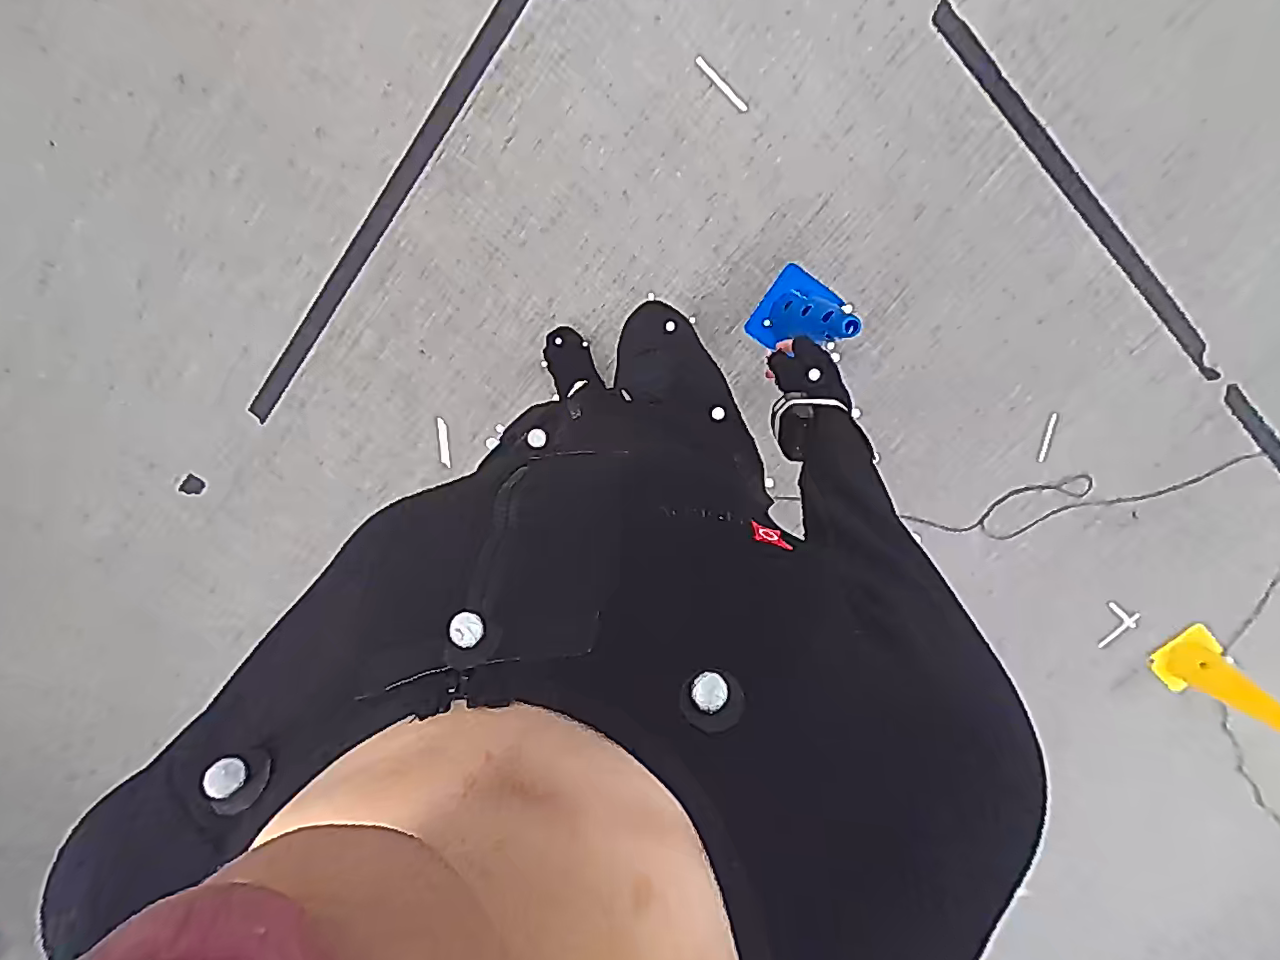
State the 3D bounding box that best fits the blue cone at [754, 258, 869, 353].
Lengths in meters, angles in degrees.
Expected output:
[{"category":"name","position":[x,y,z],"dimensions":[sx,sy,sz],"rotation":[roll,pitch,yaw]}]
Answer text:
[{"category":"blue cone","position":[0.406,-0.379,1.202],"dimensions":[0.193,0.380,0.192],"rotation":[33,105,-12]}]
